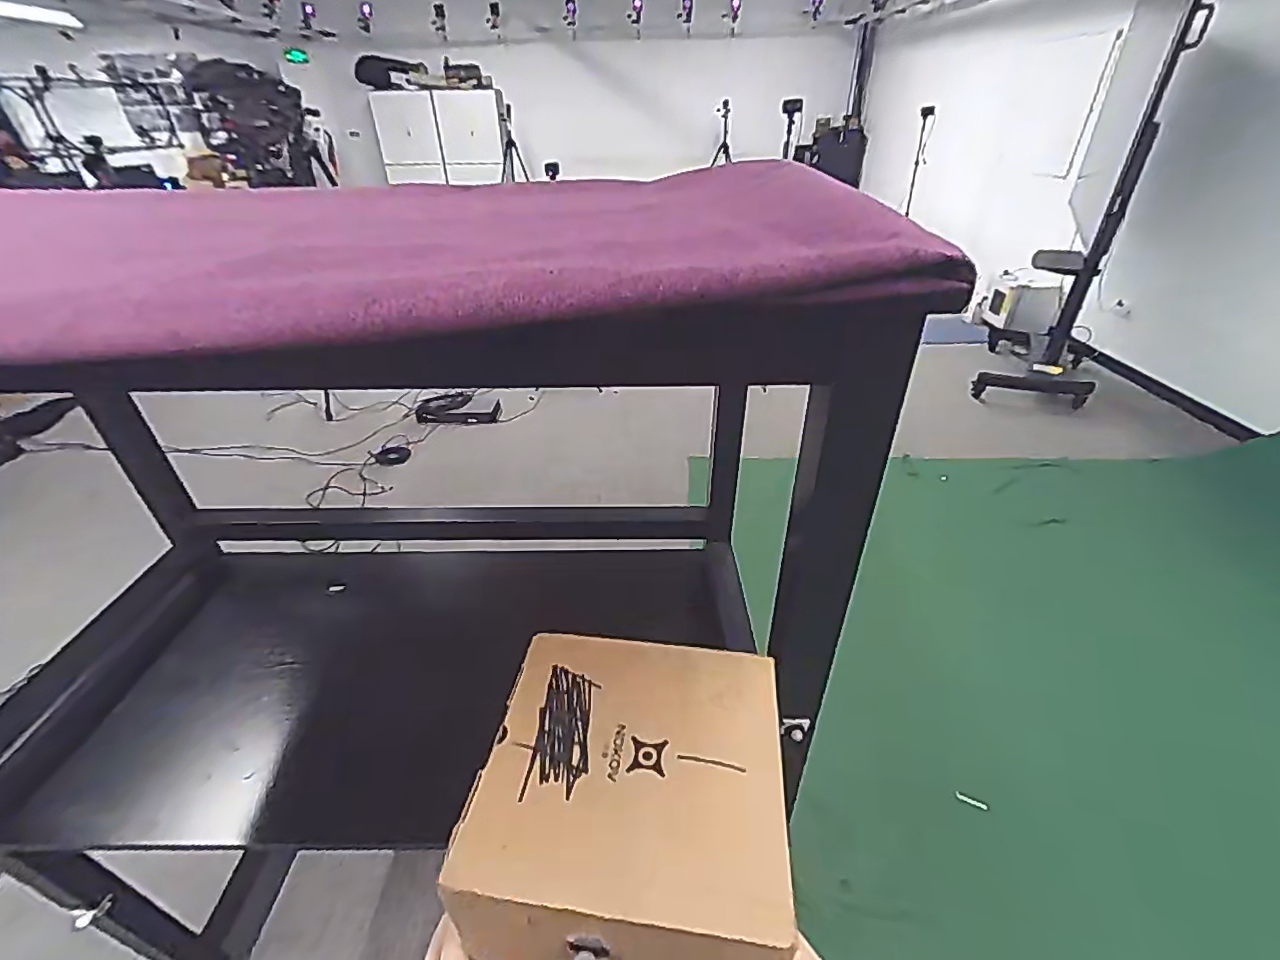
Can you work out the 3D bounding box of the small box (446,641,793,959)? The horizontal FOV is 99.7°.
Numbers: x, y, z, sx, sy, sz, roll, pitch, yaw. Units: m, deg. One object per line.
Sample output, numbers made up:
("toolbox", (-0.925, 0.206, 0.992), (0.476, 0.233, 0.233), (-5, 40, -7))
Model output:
("small box", (-0.002, 0.237, 0.369), (0.179, 0.176, 0.168), (4, 33, 6))
